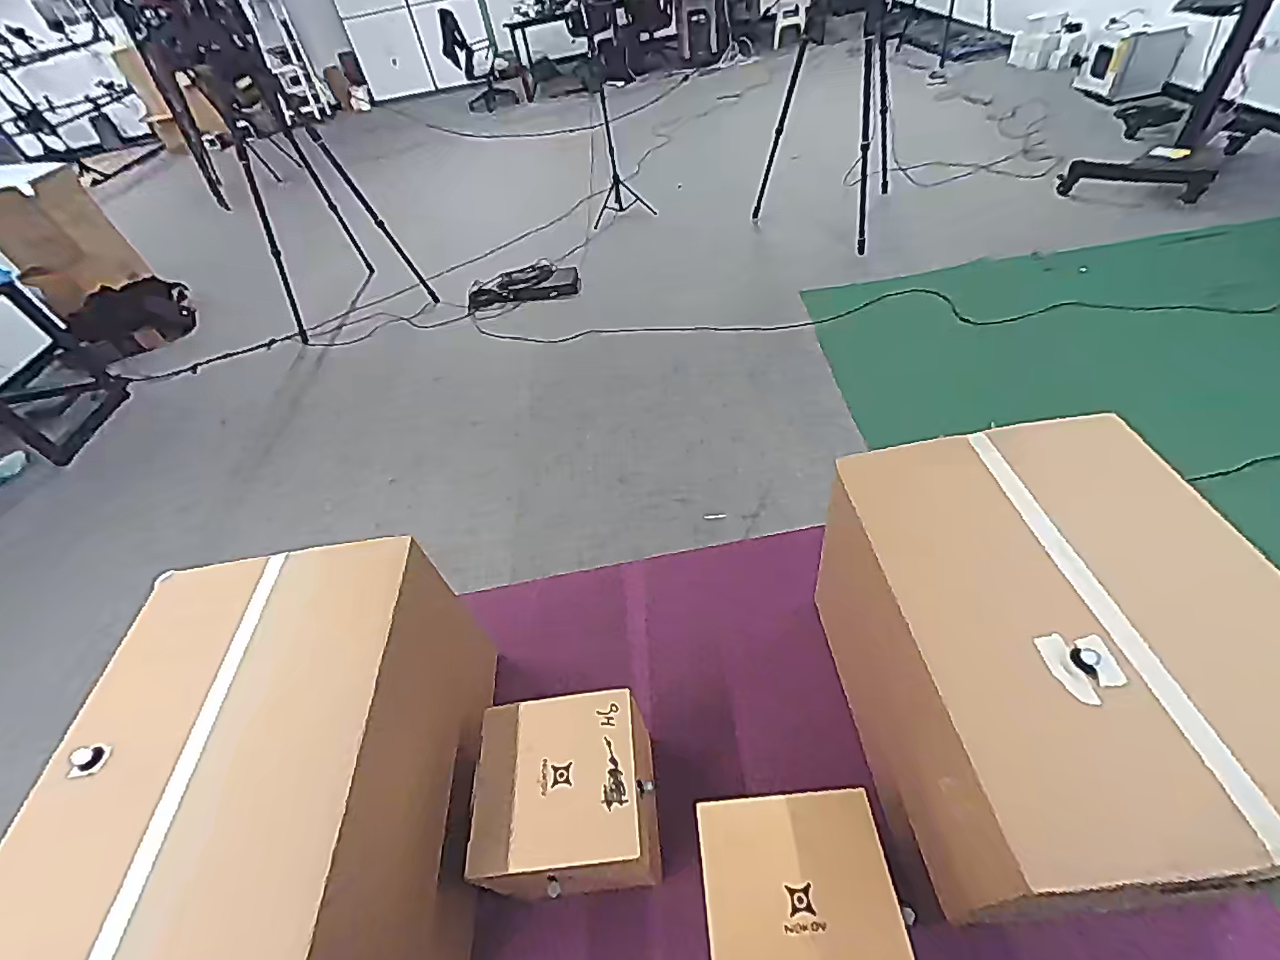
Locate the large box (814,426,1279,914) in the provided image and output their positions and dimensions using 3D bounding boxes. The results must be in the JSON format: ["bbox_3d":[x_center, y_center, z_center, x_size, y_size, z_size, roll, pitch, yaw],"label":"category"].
[{"bbox_3d":[0.415,0.200,0.596,0.320,0.320,0.408,-9,47,3],"label":"large box"}]
